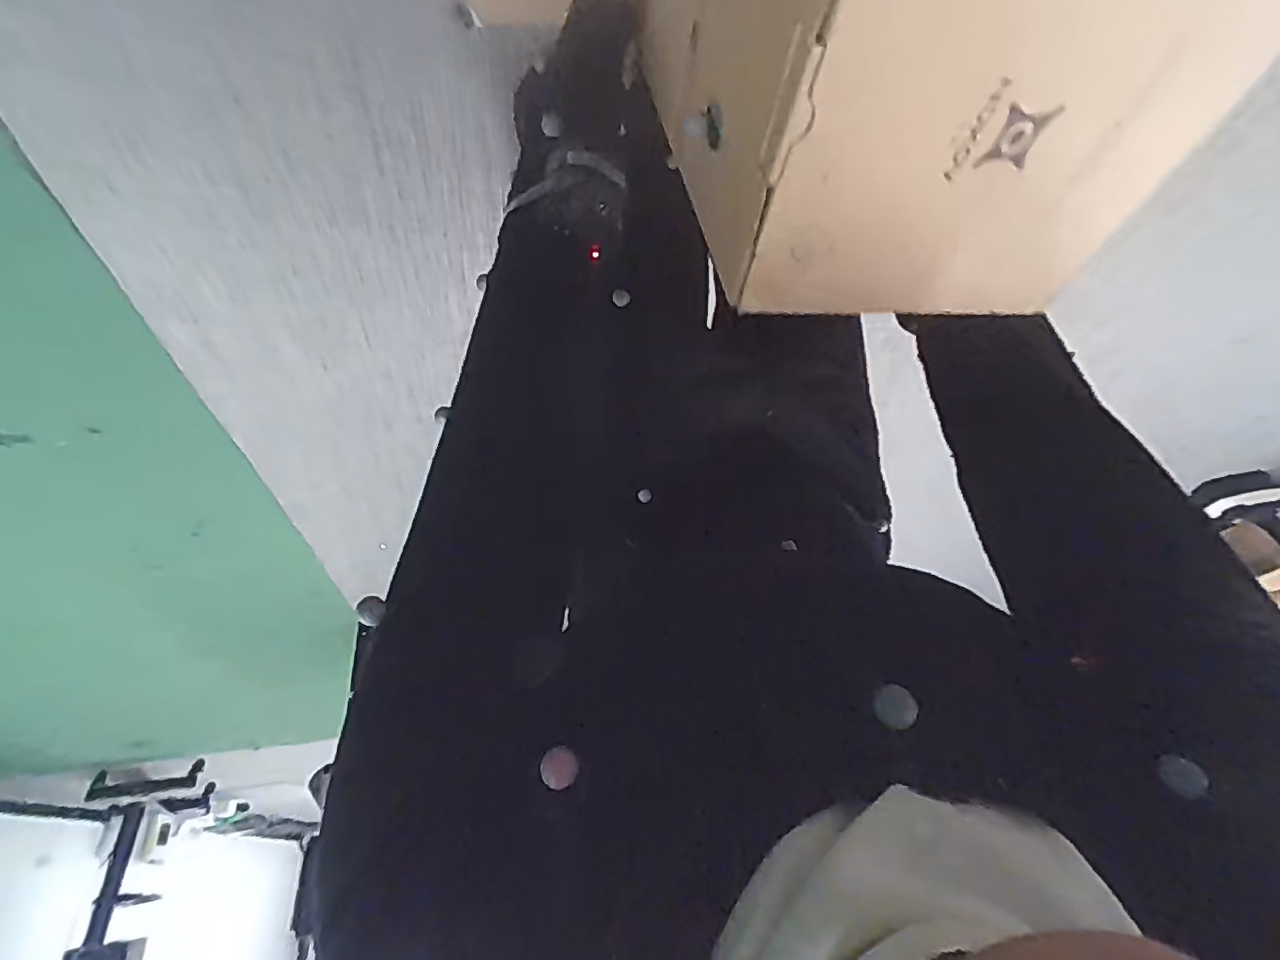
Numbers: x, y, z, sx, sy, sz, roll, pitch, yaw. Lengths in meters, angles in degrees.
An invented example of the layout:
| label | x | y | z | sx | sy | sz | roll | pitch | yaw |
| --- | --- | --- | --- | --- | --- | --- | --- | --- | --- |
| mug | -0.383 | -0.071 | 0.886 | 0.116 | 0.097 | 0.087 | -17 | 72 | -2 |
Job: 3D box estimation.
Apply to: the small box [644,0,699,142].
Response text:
| label | x | y | z | sx | sy | sz | roll | pitch | yaw |
| --- | --- | --- | --- | --- | --- | --- | --- | --- | --- |
| small box | 0.098 | -0.336 | 0.327 | 0.168 | 0.176 | 0.179 | -4 | 149 | -9 |

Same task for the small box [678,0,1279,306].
| label | x | y | z | sx | sy | sz | roll | pitch | yaw |
| --- | --- | --- | --- | --- | --- | --- | --- | --- | --- |
| small box | 0.124 | -0.200 | 0.241 | 0.179 | 0.176 | 0.168 | -4 | 149 | -11 |
